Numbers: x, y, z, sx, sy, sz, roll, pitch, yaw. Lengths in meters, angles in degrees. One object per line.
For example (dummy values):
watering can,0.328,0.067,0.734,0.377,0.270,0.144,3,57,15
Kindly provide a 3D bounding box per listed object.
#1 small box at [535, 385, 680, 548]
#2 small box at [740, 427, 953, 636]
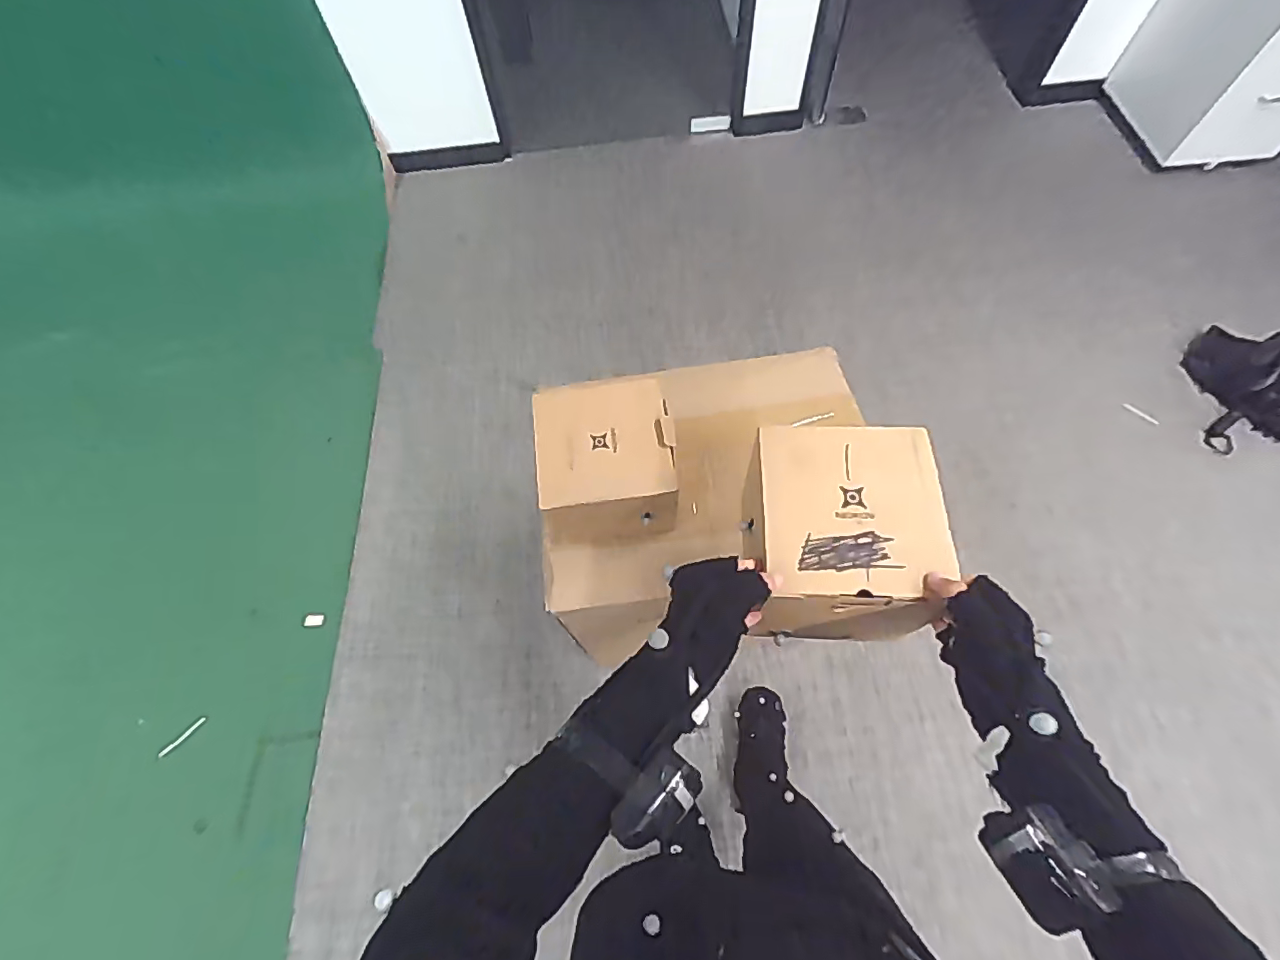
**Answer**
small box,-0.042,-0.012,0.773,0.179,0.176,0.168,-9,67,1
small box,0.197,0.061,0.575,0.168,0.176,0.179,1,61,5
